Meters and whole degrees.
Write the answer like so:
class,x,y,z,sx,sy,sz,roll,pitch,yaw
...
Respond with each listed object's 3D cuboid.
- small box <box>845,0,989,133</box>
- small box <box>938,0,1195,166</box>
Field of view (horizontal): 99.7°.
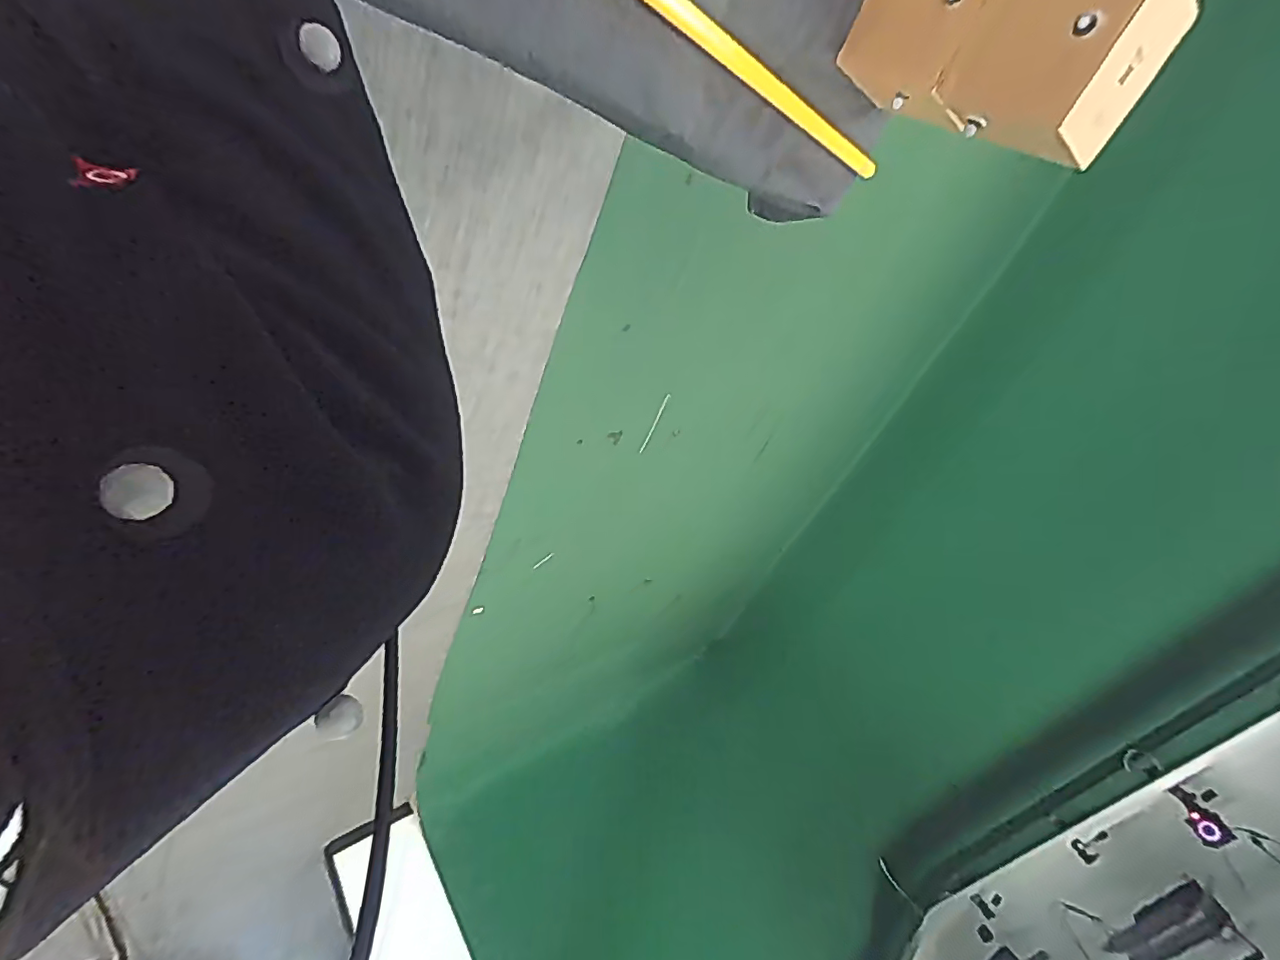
class,x,y,z,sx,sy,sz,roll,pitch,yaw
small box,0.413,-0.625,0.746,0.168,0.176,0.179,-6,132,-44
small box,0.513,-0.527,0.663,0.168,0.176,0.179,-7,133,-42
